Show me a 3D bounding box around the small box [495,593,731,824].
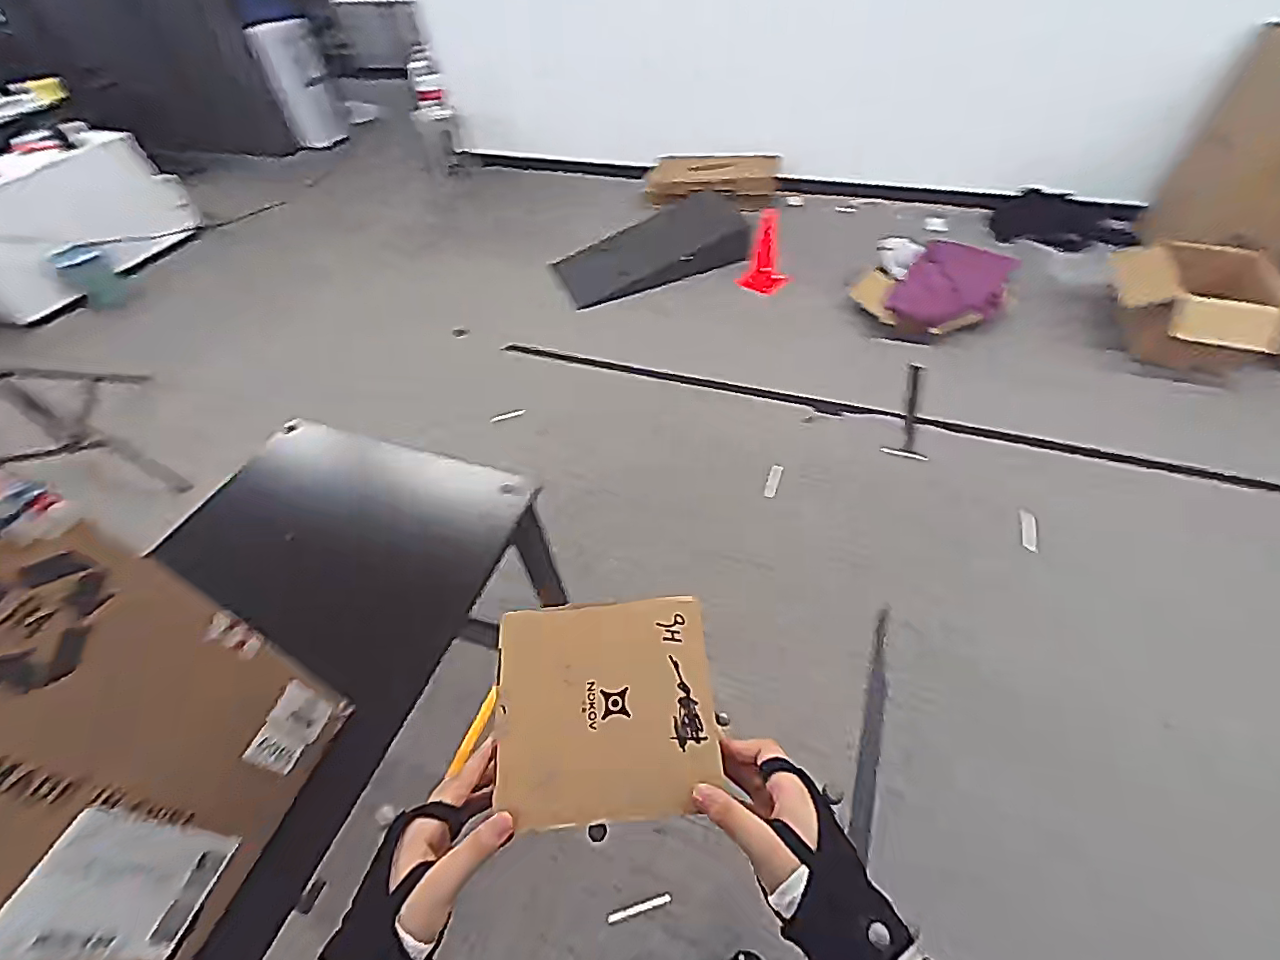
[{"bbox_3d":[-0.020,0.216,0.499,0.179,0.176,0.168,-5,59,0],"label":"small box"}]
